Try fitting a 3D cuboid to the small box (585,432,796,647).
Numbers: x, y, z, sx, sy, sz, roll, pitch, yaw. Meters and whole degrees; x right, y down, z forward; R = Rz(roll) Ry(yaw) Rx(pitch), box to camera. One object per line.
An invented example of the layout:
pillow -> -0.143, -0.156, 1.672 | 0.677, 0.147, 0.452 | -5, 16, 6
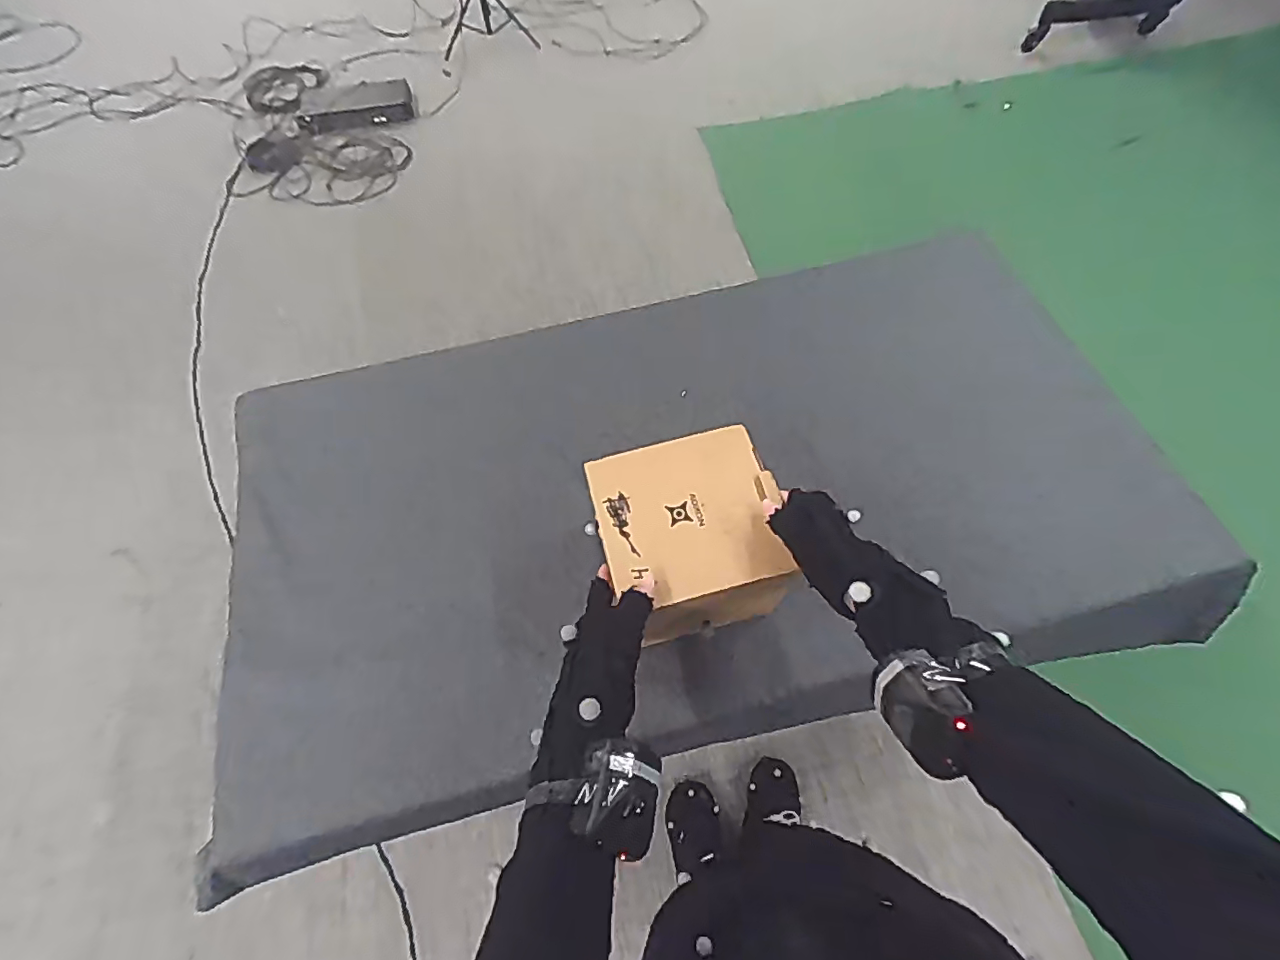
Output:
small box -> 0.045, 0.072, 0.599 | 0.179, 0.176, 0.168 | -13, 63, -5
